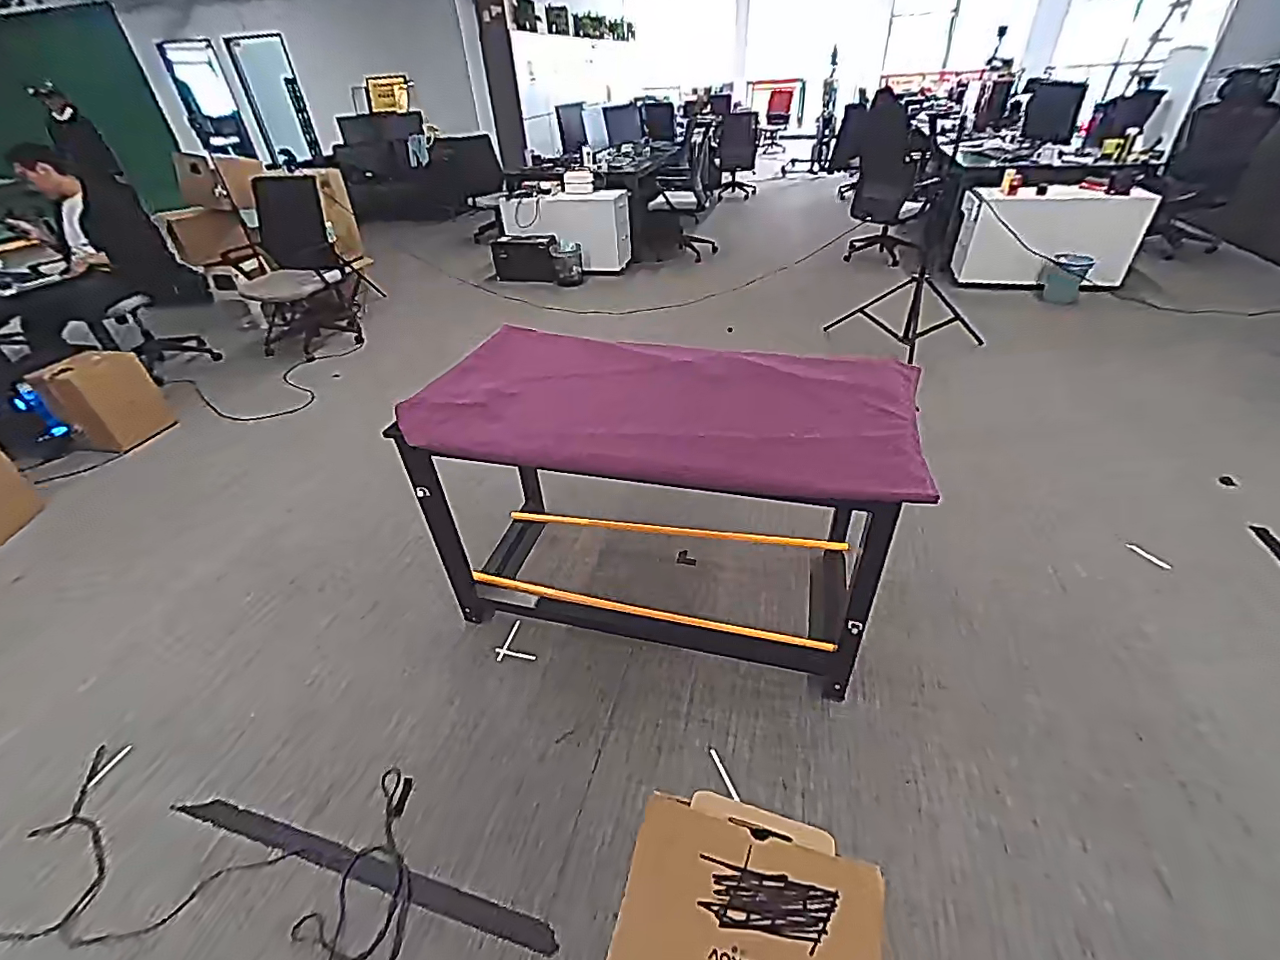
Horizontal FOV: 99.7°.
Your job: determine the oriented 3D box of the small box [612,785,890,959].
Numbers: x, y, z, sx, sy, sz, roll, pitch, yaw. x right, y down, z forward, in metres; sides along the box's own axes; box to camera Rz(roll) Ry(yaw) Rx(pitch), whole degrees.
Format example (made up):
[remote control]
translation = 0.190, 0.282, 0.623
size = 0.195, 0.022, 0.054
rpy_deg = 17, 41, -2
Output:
[small box]
translation = 0.075, 0.359, 0.394
size = 0.168, 0.176, 0.179
rpy_deg = 8, 51, 18
